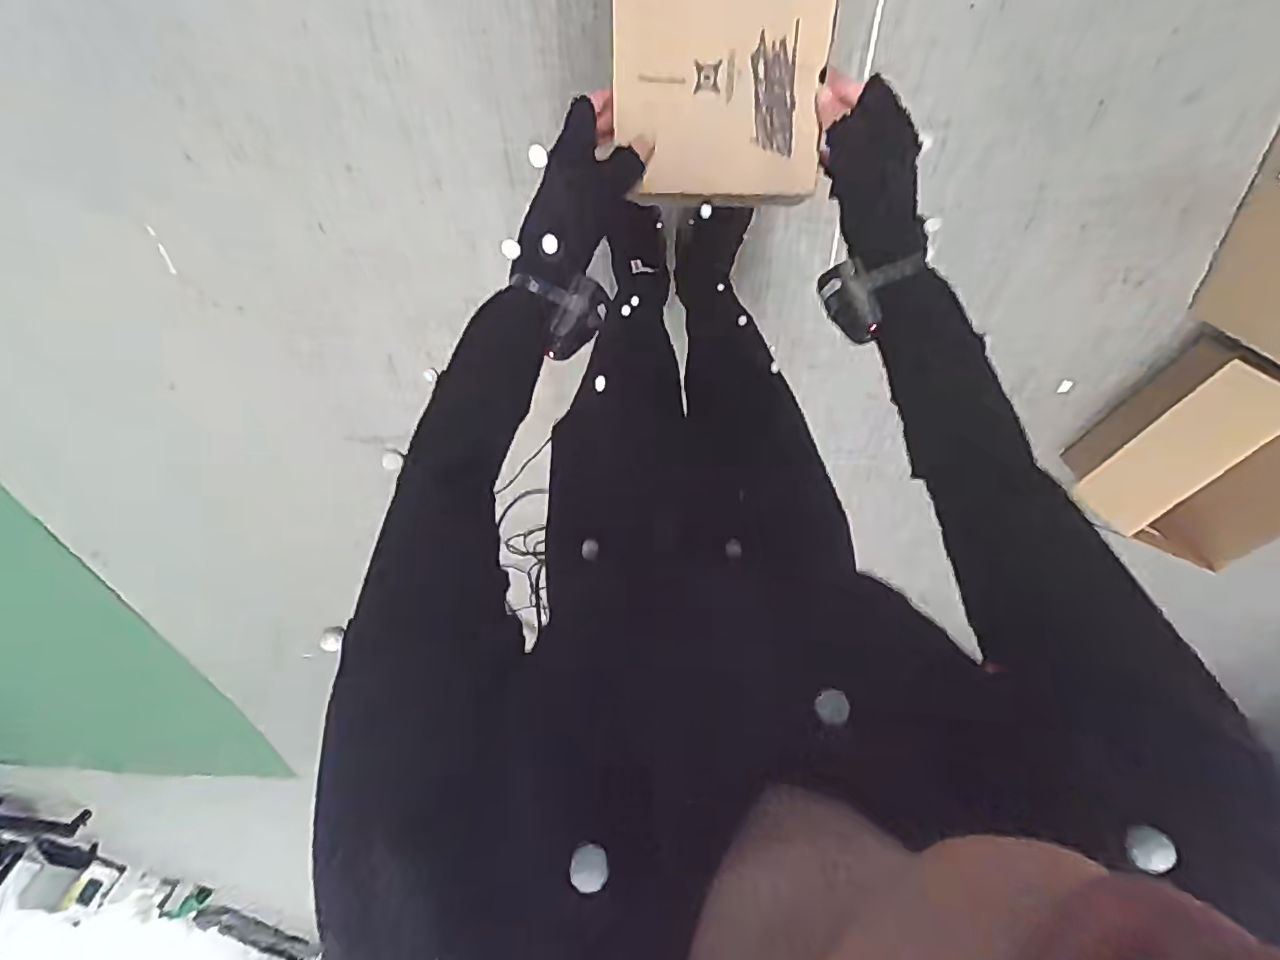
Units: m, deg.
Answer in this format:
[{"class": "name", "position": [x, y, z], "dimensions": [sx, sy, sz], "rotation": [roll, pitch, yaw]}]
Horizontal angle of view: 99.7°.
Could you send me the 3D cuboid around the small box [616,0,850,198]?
[{"class": "small box", "position": [0.080, -0.355, 0.490], "dimensions": [0.179, 0.176, 0.168], "rotation": [6, 115, 10]}]
